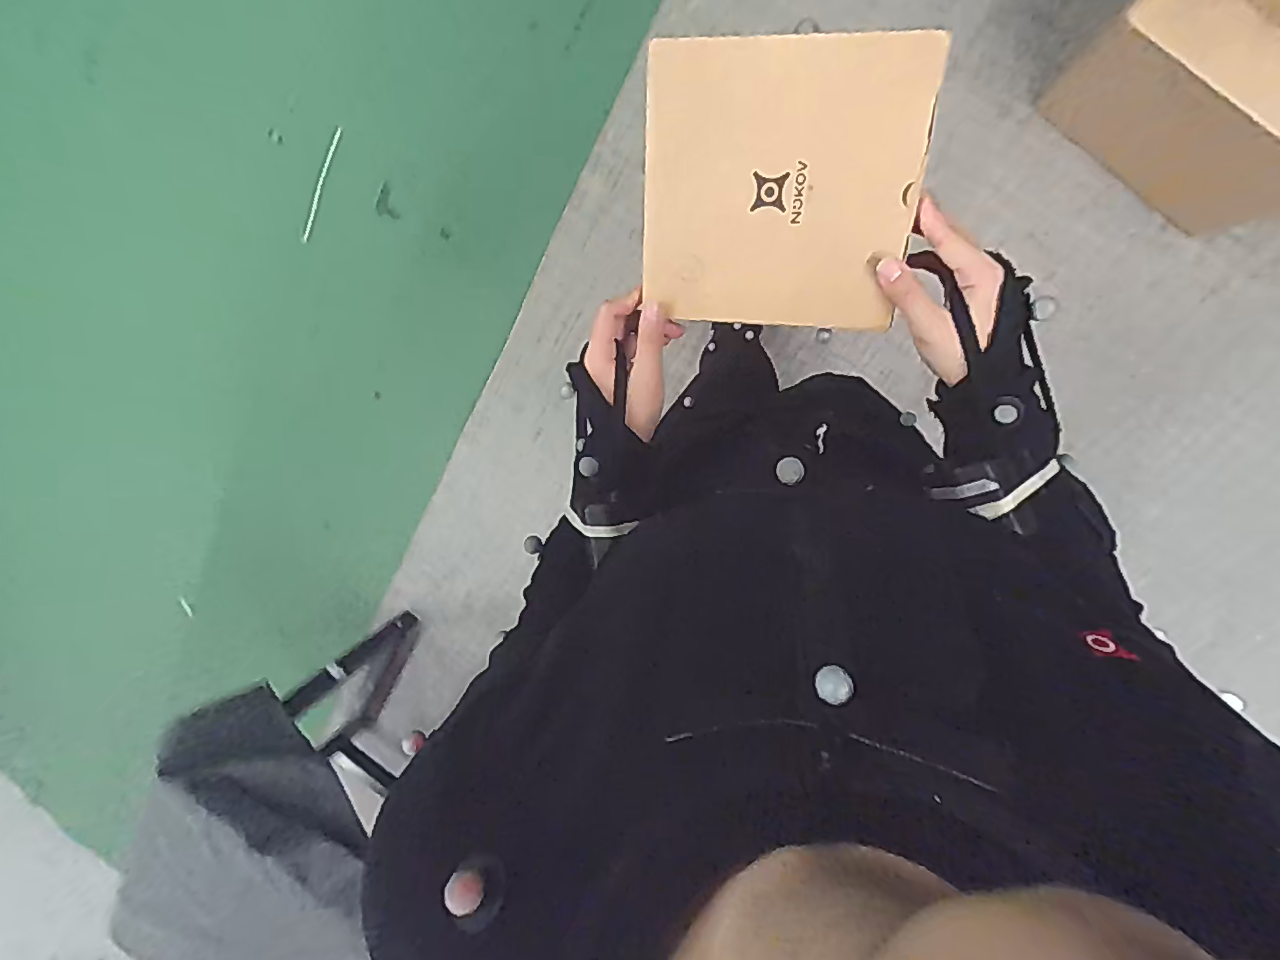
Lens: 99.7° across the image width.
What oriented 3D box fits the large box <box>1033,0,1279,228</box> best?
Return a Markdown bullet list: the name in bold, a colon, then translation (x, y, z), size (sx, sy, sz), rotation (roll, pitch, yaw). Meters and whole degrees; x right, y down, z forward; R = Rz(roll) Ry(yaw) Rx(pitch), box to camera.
- **large box**: translation (0.942, -0.664, 0.828), size (0.408, 0.320, 0.320), rotation (39, 111, 2)
